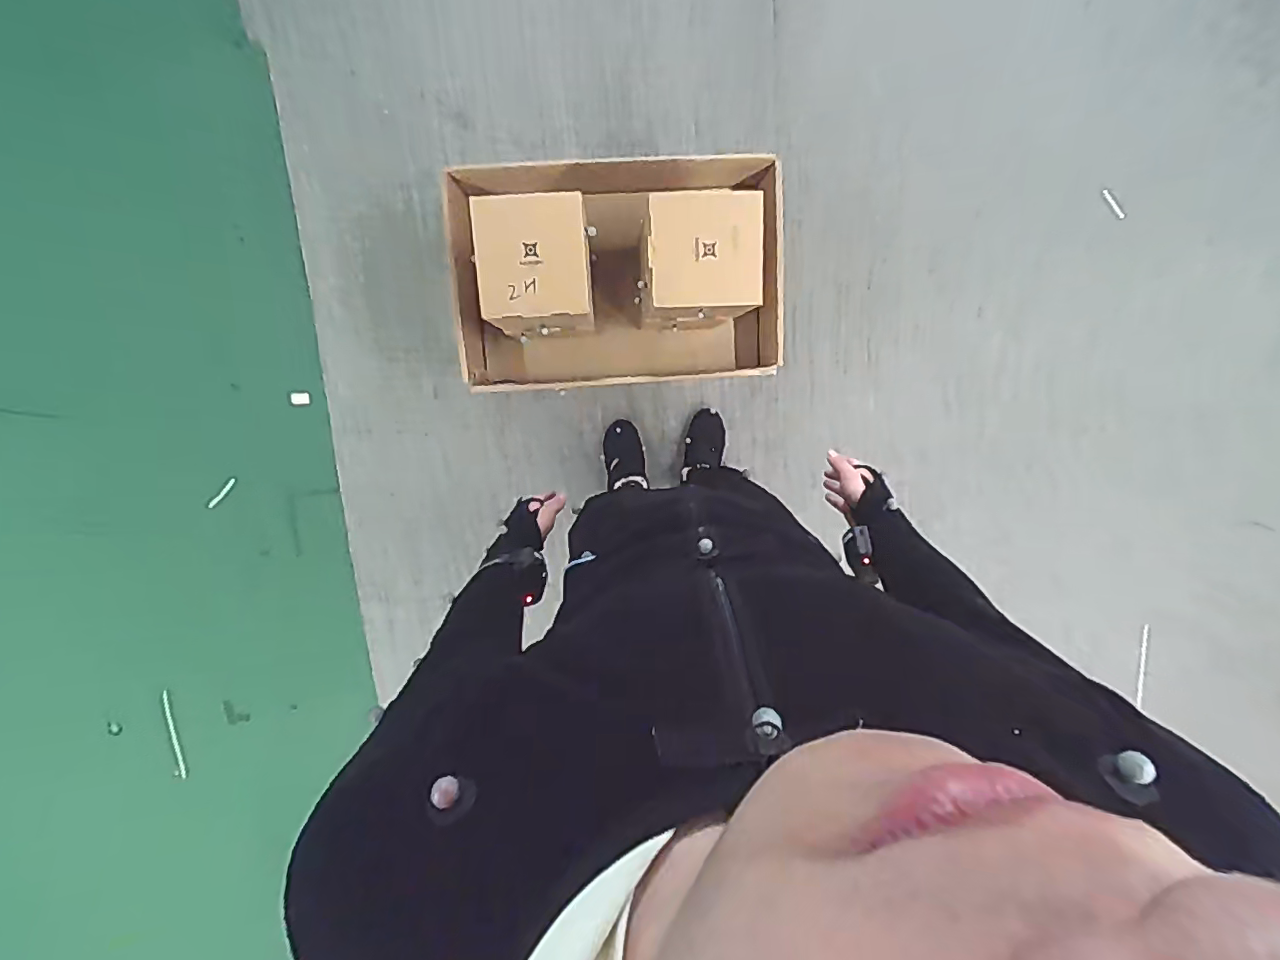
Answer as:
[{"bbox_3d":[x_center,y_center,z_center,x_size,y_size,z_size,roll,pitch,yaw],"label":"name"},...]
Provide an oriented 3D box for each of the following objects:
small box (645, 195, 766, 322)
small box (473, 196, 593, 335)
[{"bbox_3d":[0.098,-0.355,0.893,0.179,0.176,0.168,-2,101,-4],"label":"small box"},{"bbox_3d":[-0.164,-0.338,0.878,0.168,0.176,0.179,-4,99,-2],"label":"small box"}]
